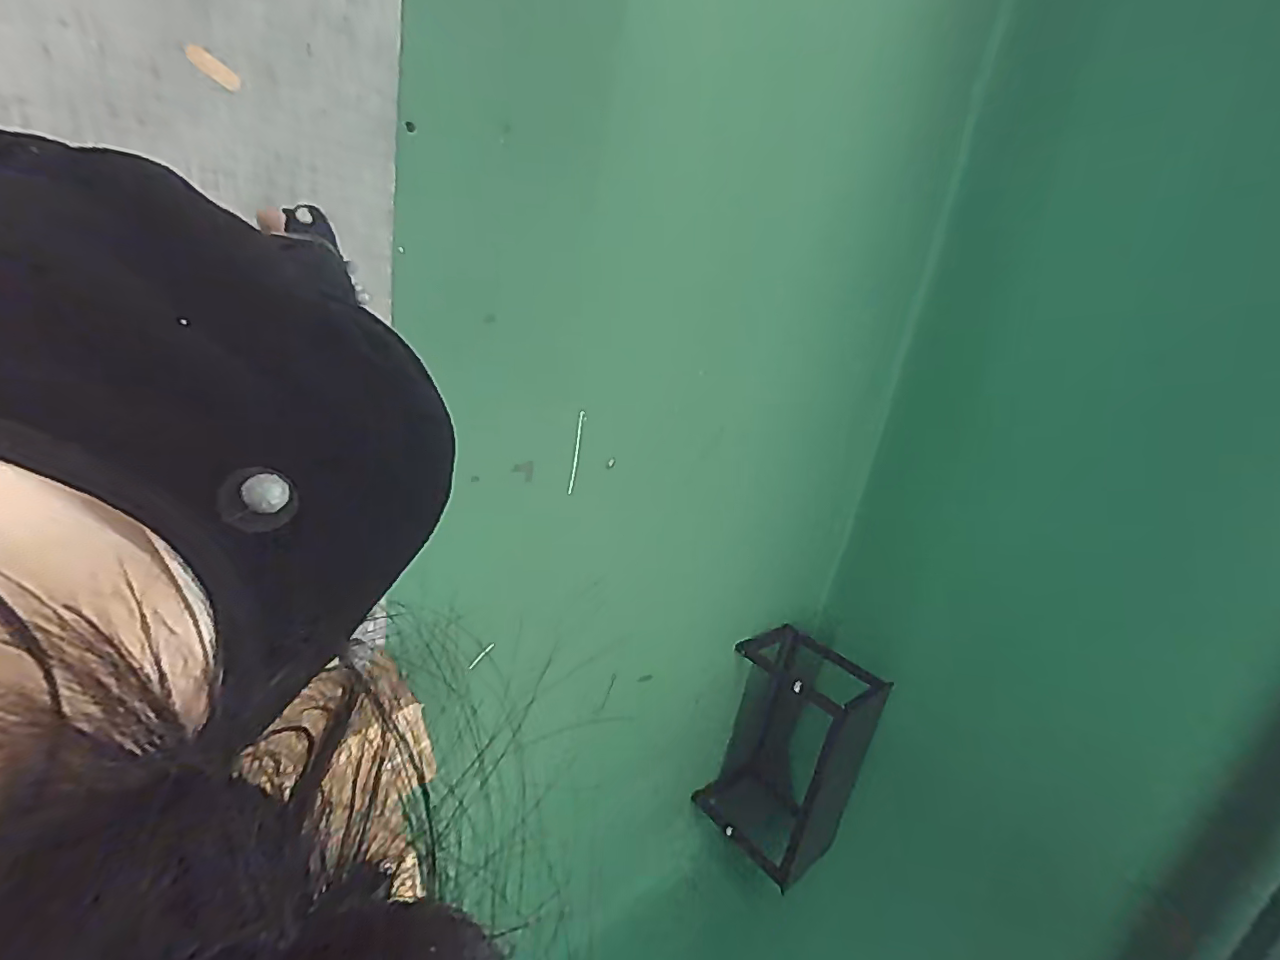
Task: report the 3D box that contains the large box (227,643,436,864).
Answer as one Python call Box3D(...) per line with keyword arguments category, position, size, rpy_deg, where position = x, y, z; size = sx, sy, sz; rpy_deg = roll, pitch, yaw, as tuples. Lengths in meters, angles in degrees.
Box3D(category="large box", position=(-0.865, 0.749, 1.541), size=(0.408, 0.320, 0.320), rpy_deg=(-23, 125, -37))

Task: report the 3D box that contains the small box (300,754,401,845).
Box3D(category="small box", position=(-0.723, 0.837, 1.359), size=(0.179, 0.176, 0.168), rpy_deg=(-18, 120, -37))

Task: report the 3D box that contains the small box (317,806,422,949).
Box3D(category="small box", position=(-0.623, 0.895, 1.243), size=(0.168, 0.176, 0.179), rpy_deg=(-17, 119, -39))
